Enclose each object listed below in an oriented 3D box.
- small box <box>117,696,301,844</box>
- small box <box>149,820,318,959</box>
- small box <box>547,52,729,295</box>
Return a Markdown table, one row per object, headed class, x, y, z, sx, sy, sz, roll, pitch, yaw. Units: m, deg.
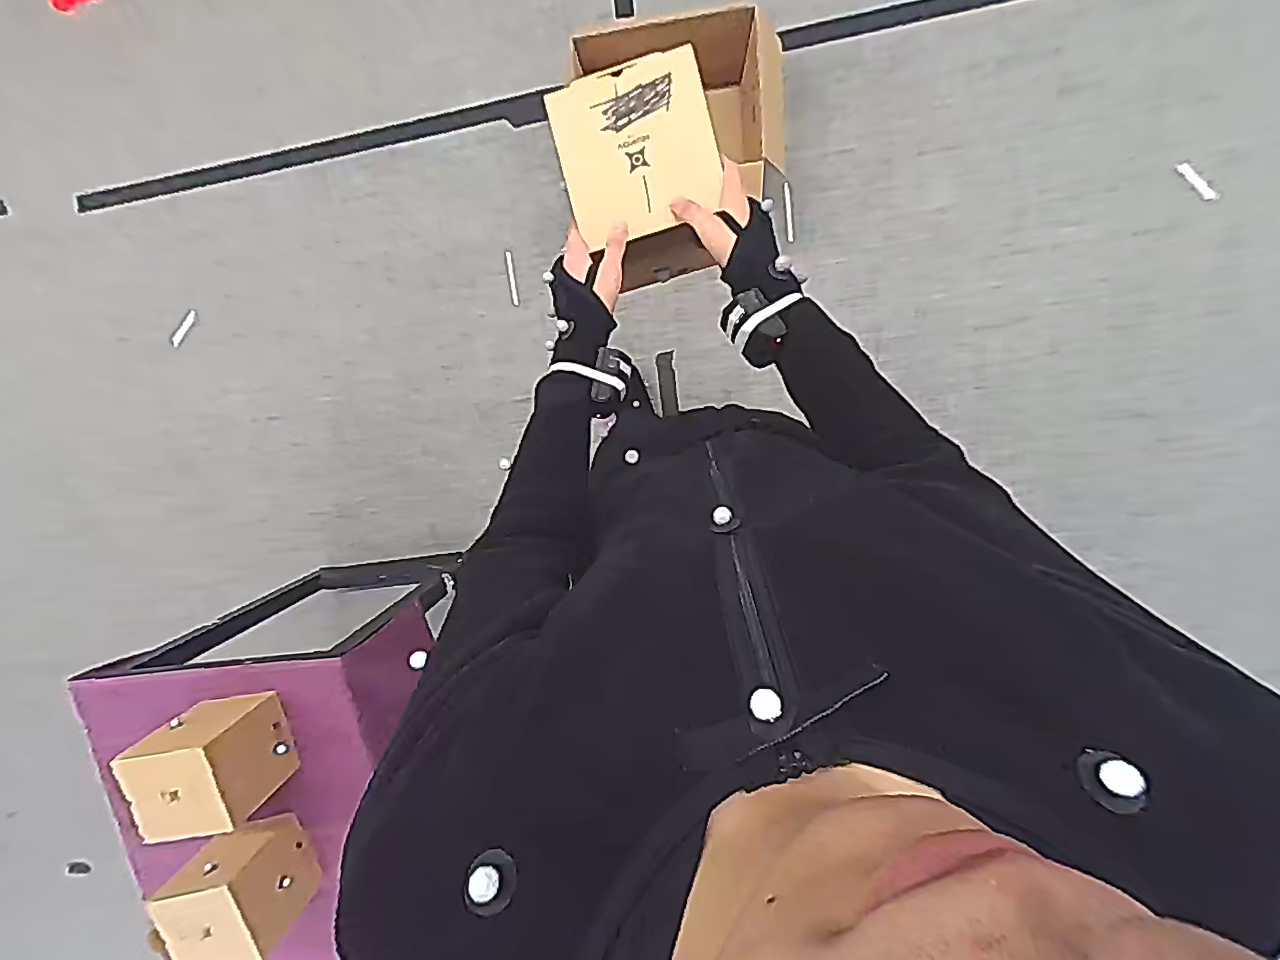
| class | x | y | z | sx | sy | sz | roll | pitch | yaw |
| --- | --- | --- | --- | --- | --- | --- | --- | --- | --- |
| small box | -0.774 | 0.522 | 0.989 | 0.179 | 0.176 | 0.168 | -11 | 100 | 8 |
| small box | -0.757 | 0.790 | 1.034 | 0.179 | 0.176 | 0.168 | -17 | 98 | 8 |
| small box | 0.005 | -0.351 | 0.656 | 0.168 | 0.176 | 0.179 | -14 | 92 | 7 |
